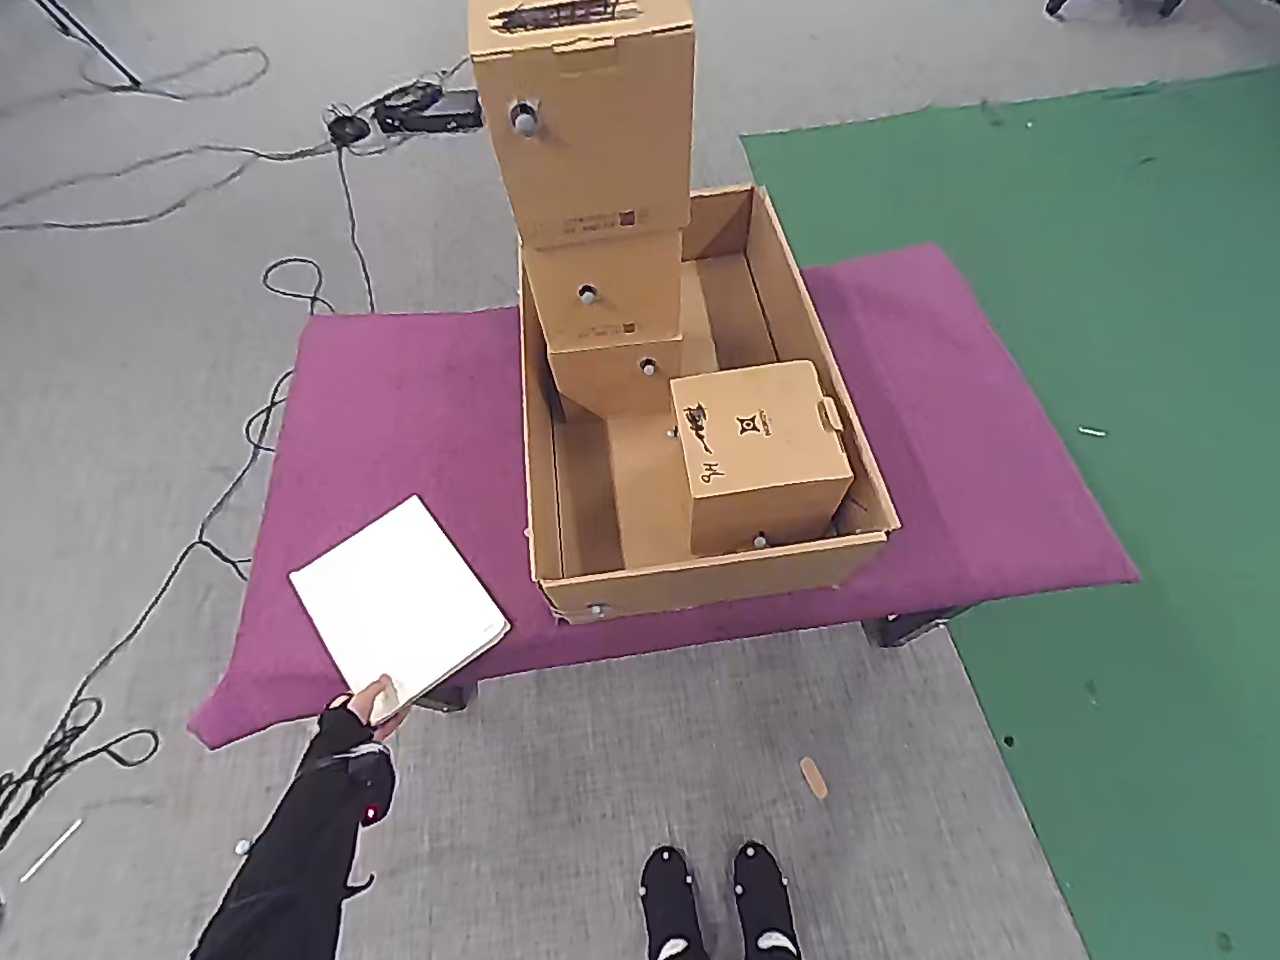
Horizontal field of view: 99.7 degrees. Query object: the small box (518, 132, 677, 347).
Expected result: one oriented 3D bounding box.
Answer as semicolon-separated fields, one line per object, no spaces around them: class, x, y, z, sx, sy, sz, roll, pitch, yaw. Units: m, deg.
small box;-0.046;-0.278;0.653;0.168;0.176;0.179;-7;62;-1
